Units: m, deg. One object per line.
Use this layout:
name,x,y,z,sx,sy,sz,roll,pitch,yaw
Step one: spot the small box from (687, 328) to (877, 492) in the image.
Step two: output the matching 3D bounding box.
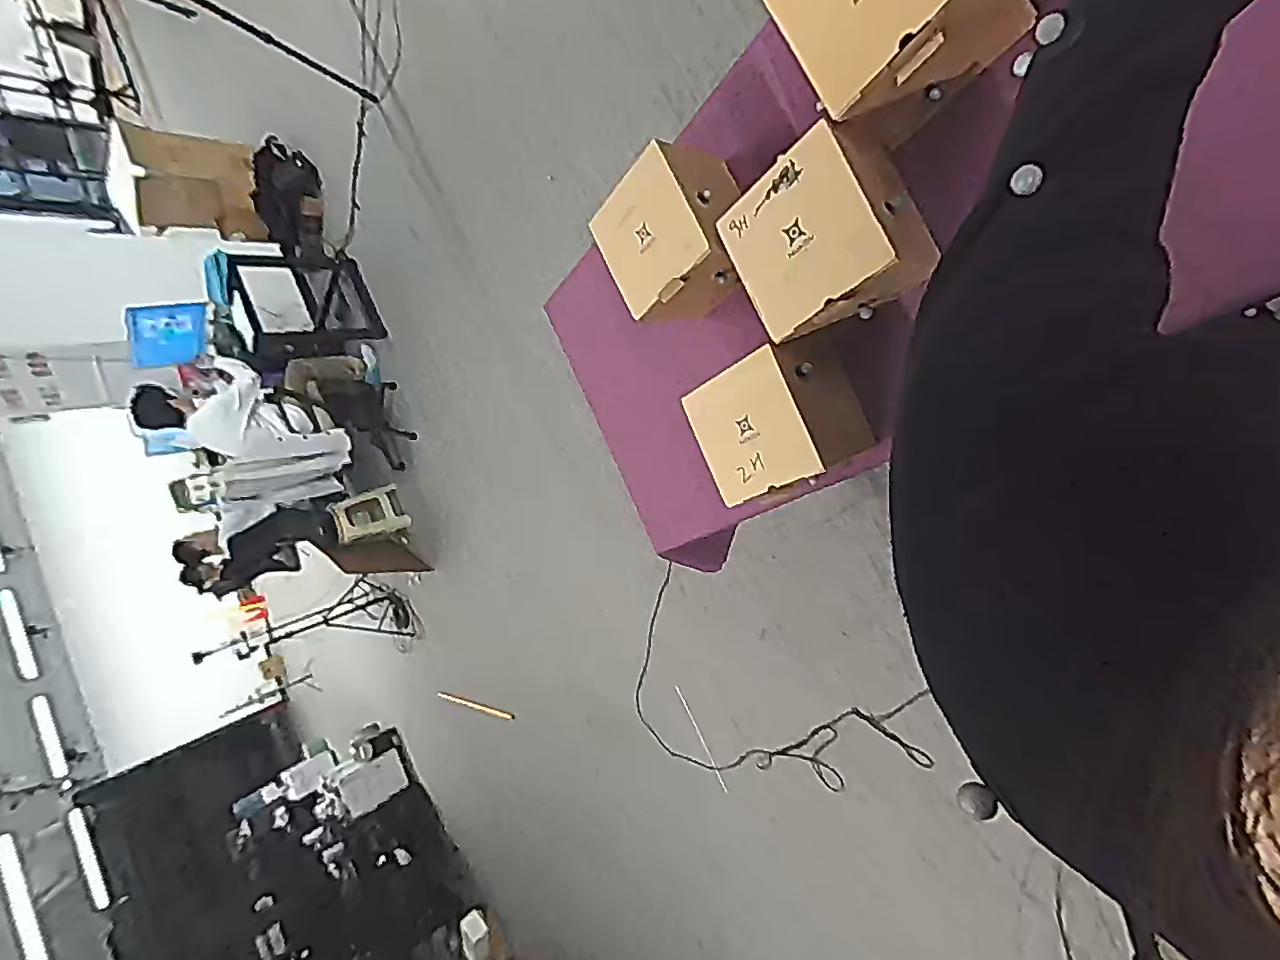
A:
small box,0.205,-0.104,0.779,0.168,0.176,0.179,-28,84,47

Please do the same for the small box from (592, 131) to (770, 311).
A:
small box,0.066,-0.381,0.818,0.168,0.176,0.179,-31,83,45

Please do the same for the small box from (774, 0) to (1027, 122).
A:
small box,0.265,-0.517,0.565,0.168,0.176,0.179,-34,82,46
